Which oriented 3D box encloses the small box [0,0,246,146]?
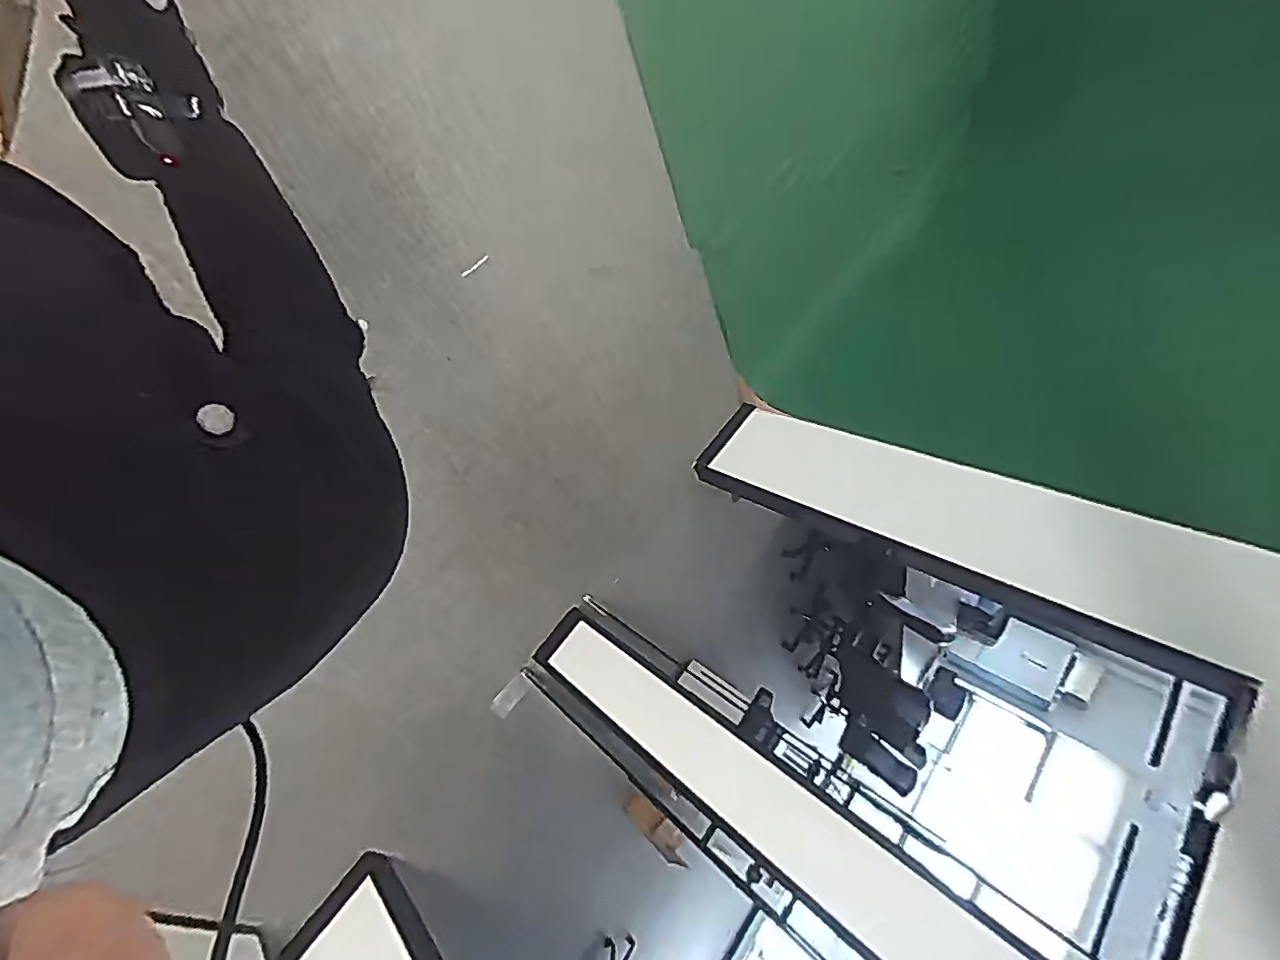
[{"bbox_3d":[-0.365,-0.356,0.309,0.176,0.168,0.179,-42,165,9],"label":"small box"}]
